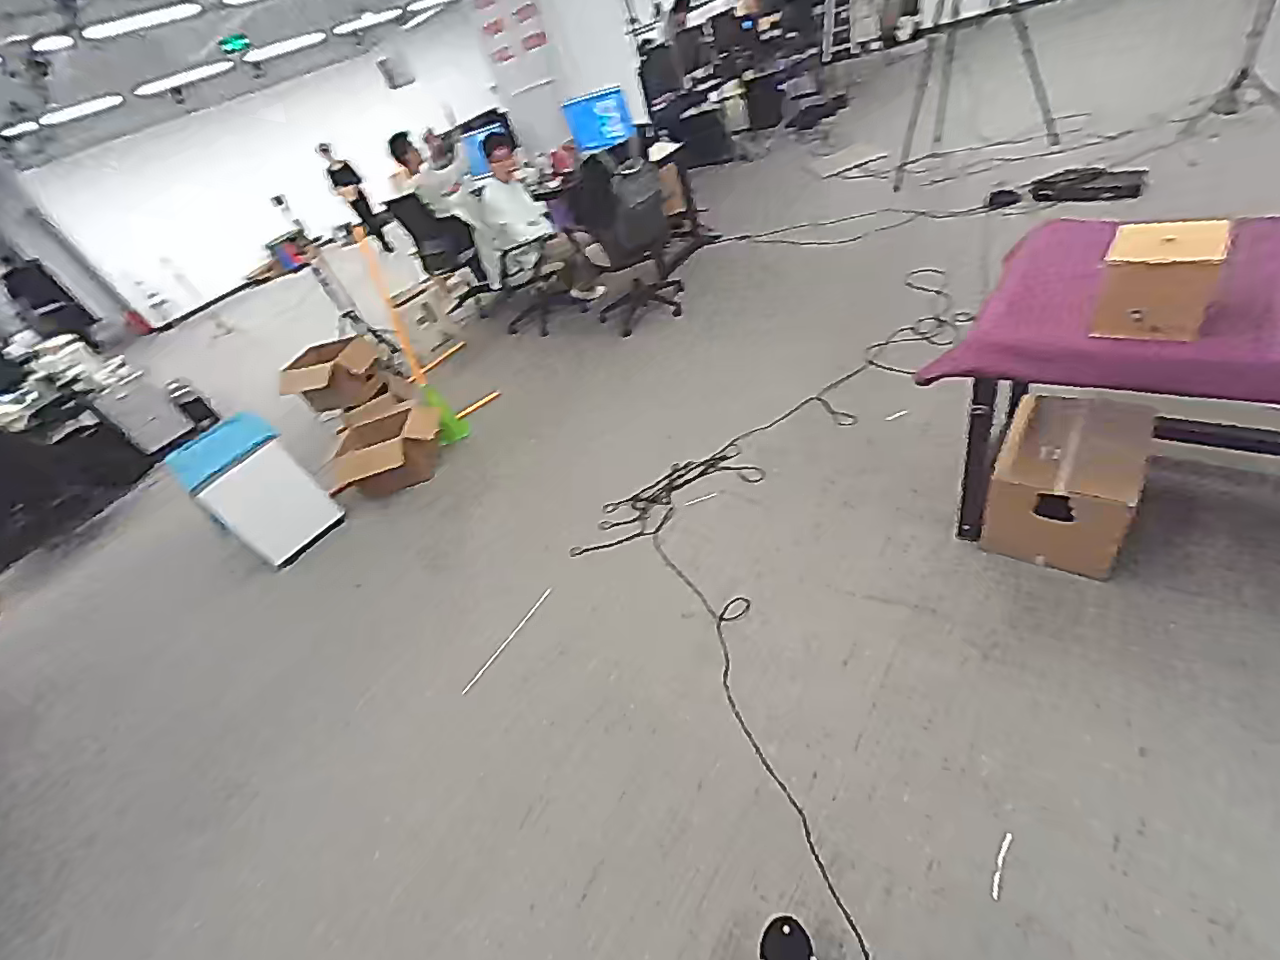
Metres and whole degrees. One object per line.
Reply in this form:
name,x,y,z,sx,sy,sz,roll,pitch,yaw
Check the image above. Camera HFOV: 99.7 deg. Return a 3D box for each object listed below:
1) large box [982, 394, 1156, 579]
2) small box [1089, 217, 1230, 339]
large box,1.238,0.006,1.580,0.320,0.320,0.408,15,54,38
small box,1.042,-0.409,1.095,0.168,0.176,0.179,17,53,38
